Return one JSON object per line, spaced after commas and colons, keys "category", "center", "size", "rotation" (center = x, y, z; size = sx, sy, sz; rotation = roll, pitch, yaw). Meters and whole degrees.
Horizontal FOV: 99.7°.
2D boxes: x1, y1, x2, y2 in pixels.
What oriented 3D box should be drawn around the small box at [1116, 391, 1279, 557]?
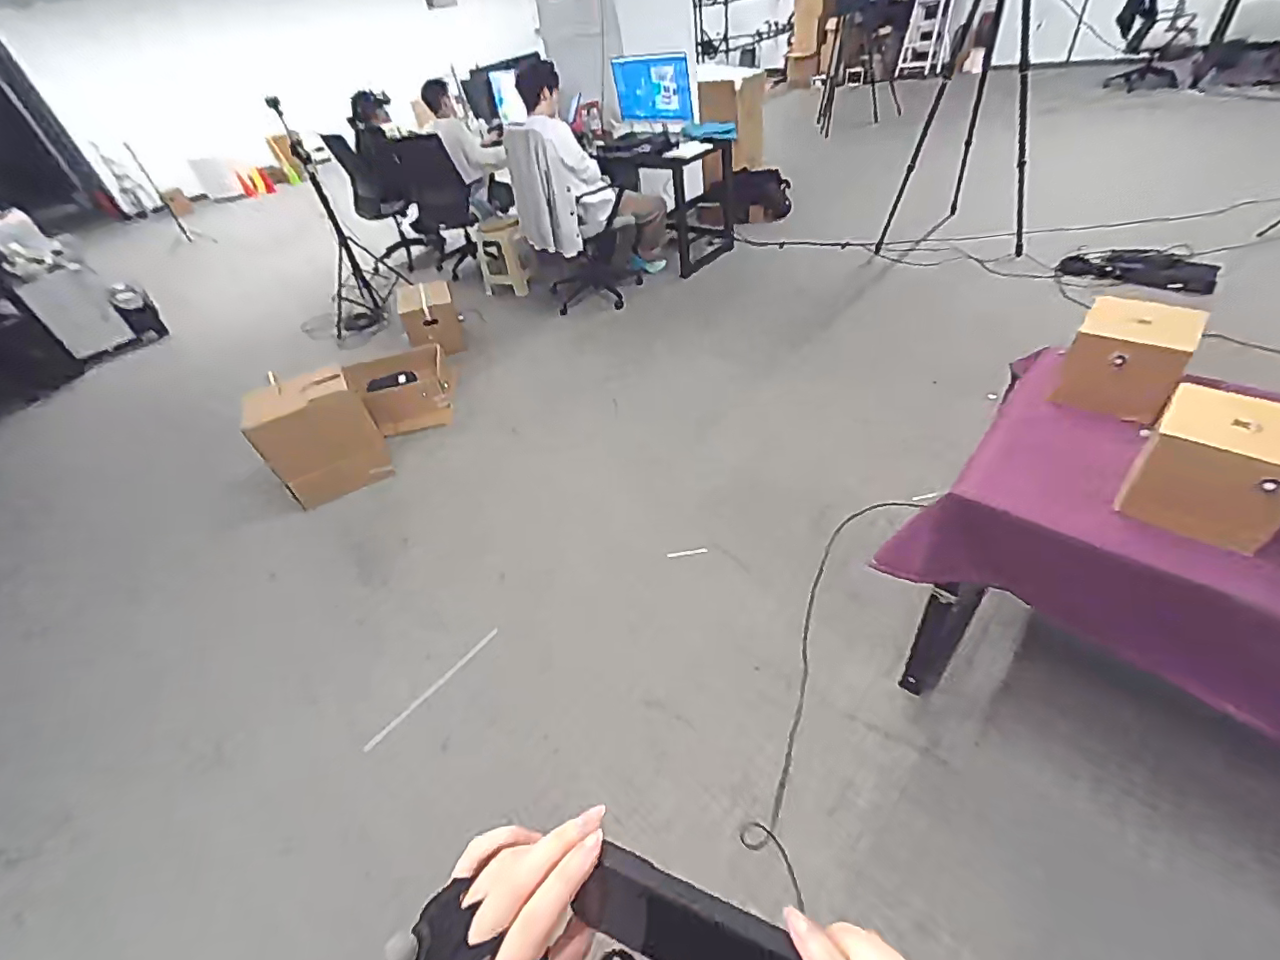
{"category": "small box", "center": [0.901, -0.010, 0.848], "size": [0.179, 0.176, 0.168], "rotation": [29, 54, 35]}
